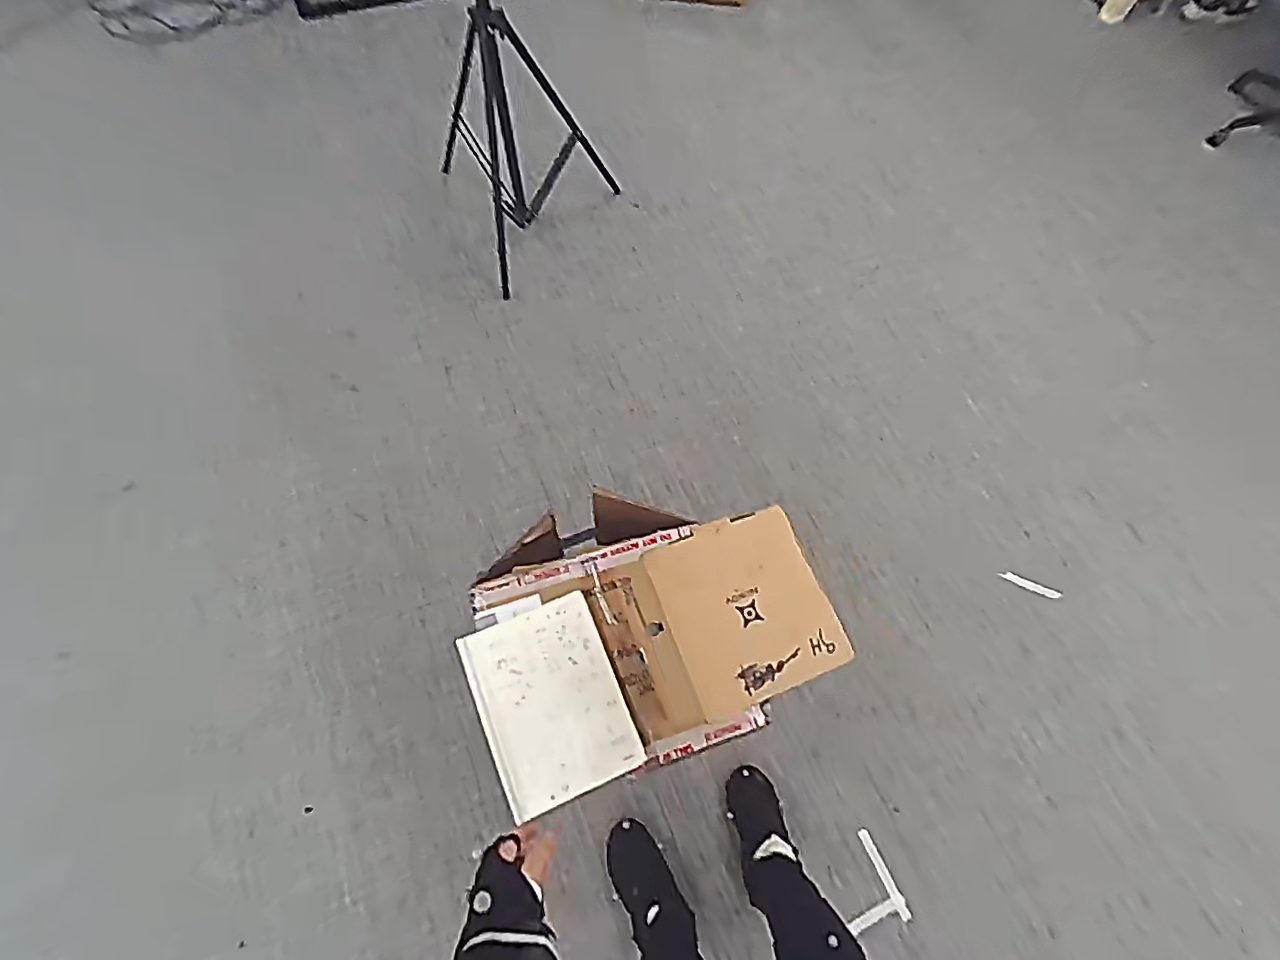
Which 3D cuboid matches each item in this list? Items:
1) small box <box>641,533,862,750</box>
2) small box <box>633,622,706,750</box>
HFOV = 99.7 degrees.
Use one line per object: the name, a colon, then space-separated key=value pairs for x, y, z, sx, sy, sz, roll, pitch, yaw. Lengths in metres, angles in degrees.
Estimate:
small box: x=0.108 y=0.186 z=0.618 sx=0.168 sy=0.176 sz=0.179 roll=-18 pitch=70 yaw=-12
small box: x=0.101 y=0.256 z=0.766 sx=0.179 sy=0.176 sz=0.168 roll=-21 pitch=70 yaw=-12
